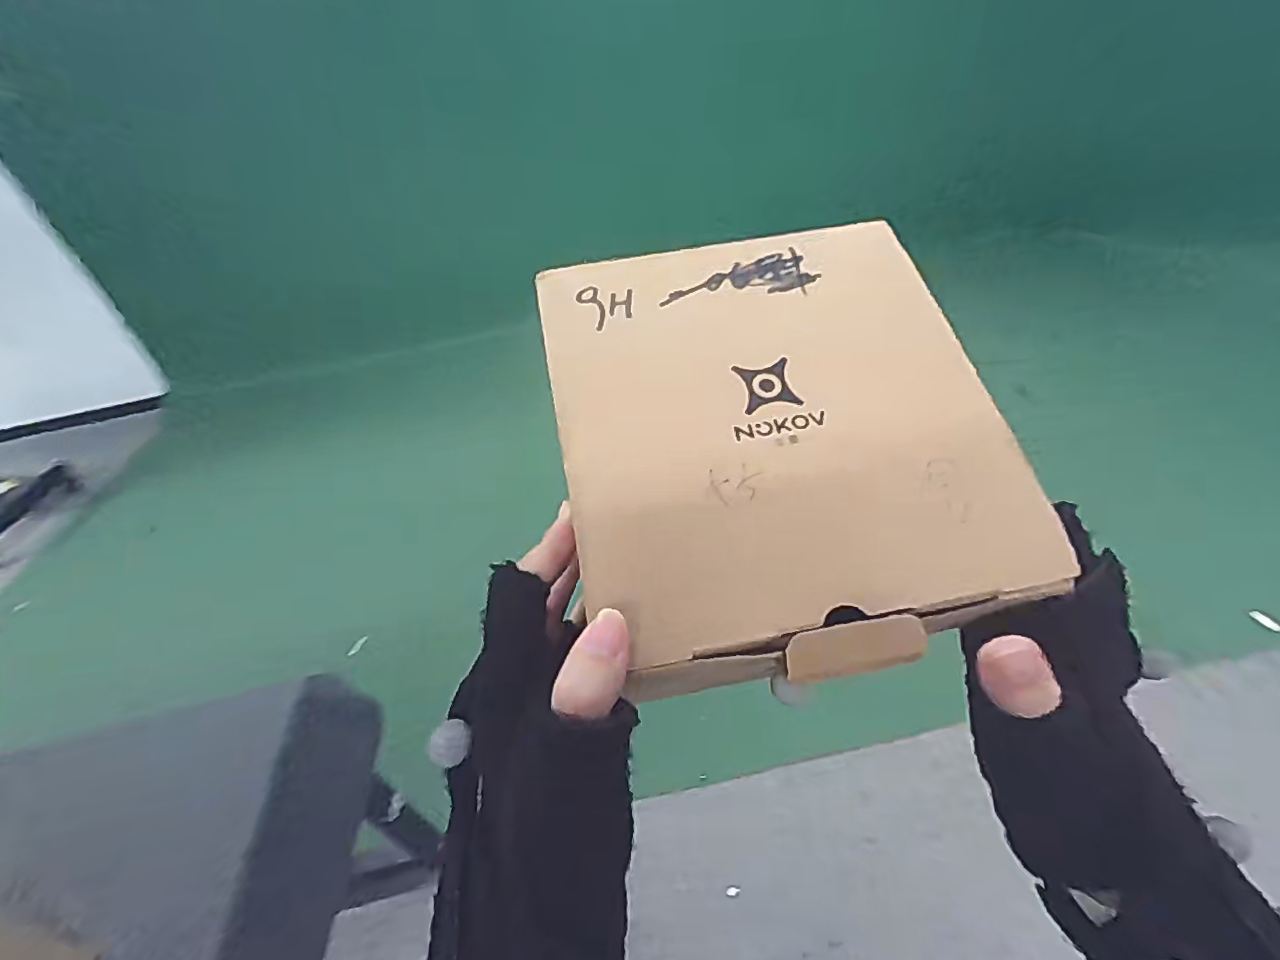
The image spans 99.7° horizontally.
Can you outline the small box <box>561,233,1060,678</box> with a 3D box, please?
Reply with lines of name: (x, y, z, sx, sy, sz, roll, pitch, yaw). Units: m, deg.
small box: (0.059, 0.005, 0.295, 0.168, 0.176, 0.179, -10, 67, -3)
